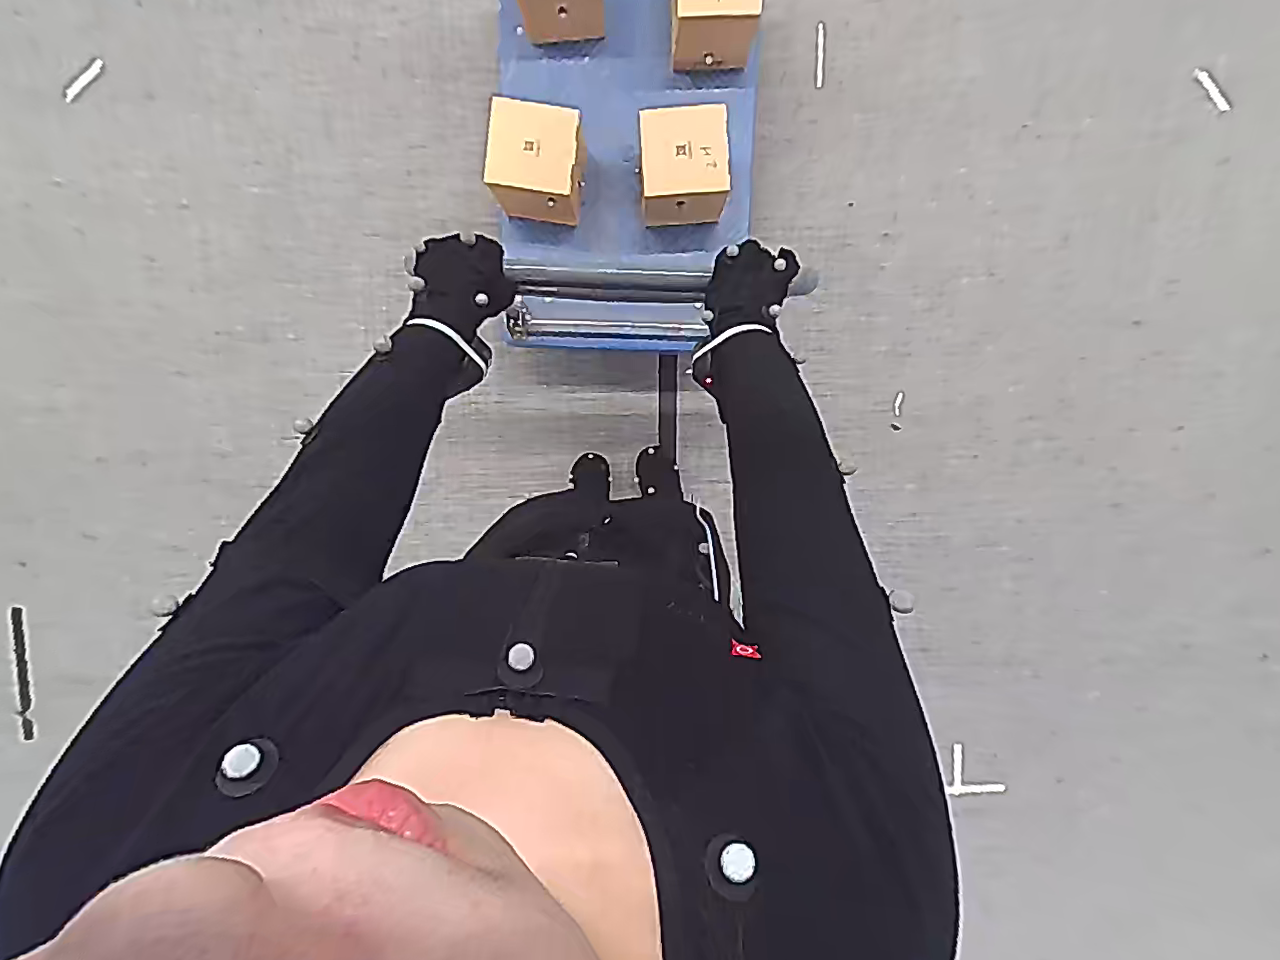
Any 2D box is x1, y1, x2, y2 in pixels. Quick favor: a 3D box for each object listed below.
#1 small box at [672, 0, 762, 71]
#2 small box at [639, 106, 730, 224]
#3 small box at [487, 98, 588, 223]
[{"bbox_3d":[0.155,-0.996,1.122,0.168,0.176,0.179,-1,97,0],"label":"small box"},{"bbox_3d":[0.091,-0.664,1.160,0.179,0.176,0.168,-4,97,0],"label":"small box"},{"bbox_3d":[-0.213,-0.673,1.158,0.179,0.176,0.168,8,96,-2],"label":"small box"}]
